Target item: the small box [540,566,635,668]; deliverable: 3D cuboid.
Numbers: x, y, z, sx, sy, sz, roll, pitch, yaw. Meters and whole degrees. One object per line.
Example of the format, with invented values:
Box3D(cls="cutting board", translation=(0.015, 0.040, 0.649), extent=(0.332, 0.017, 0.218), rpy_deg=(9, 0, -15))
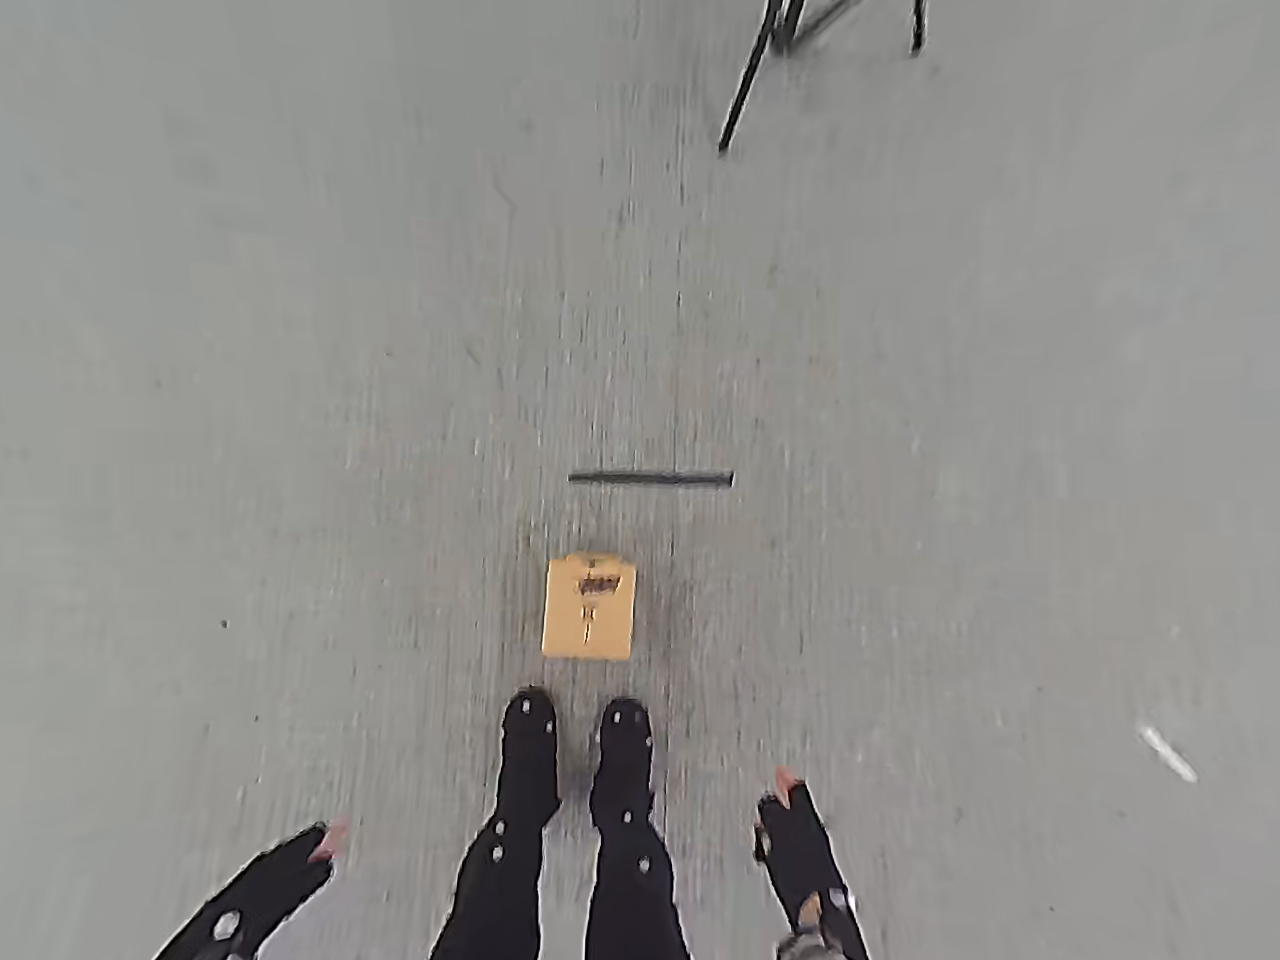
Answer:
Box3D(cls="small box", translation=(-0.101, 0.267, 1.090), extent=(0.168, 0.176, 0.179), rpy_deg=(4, 83, -1))
